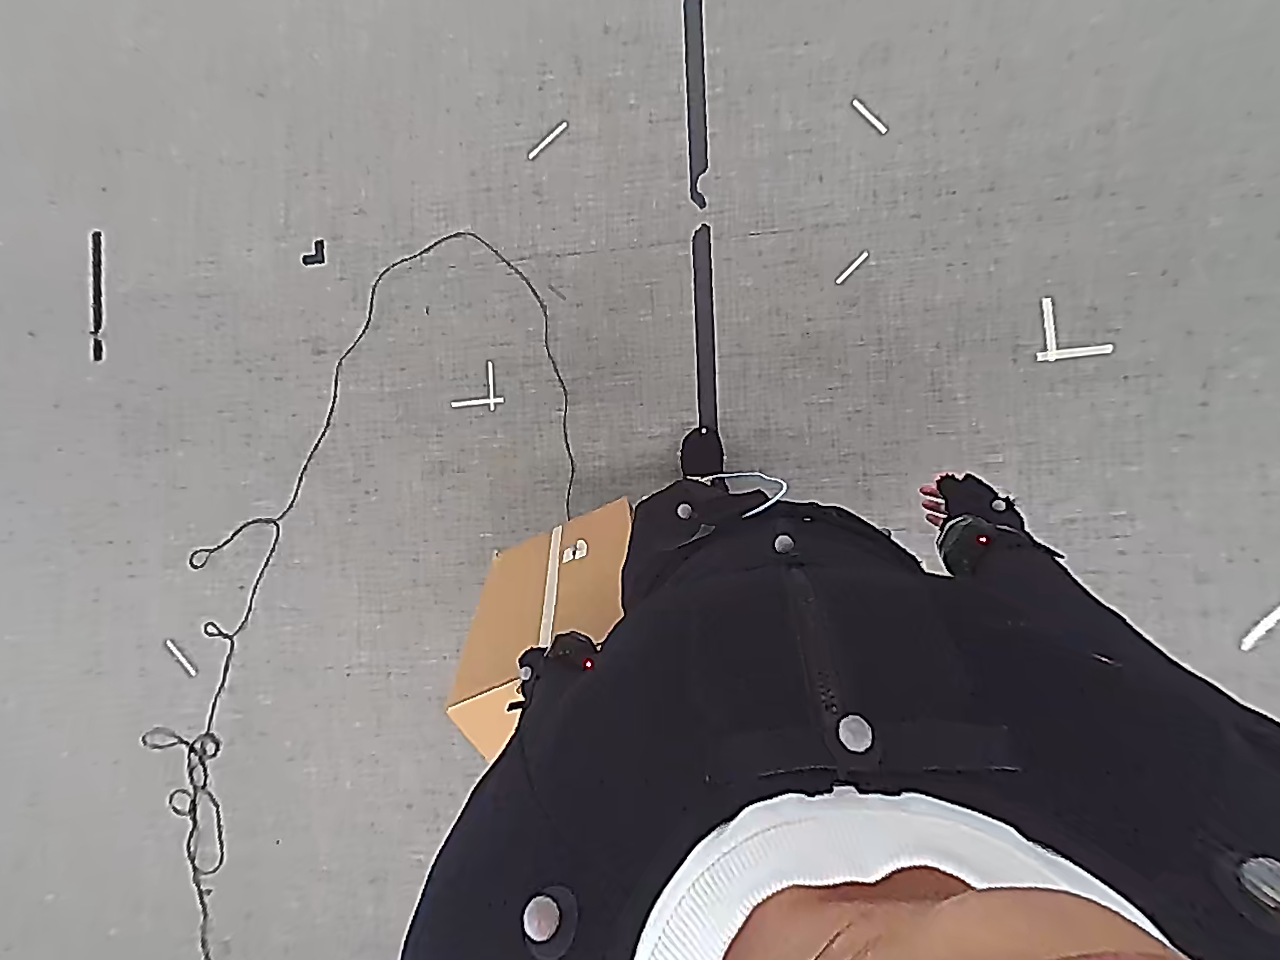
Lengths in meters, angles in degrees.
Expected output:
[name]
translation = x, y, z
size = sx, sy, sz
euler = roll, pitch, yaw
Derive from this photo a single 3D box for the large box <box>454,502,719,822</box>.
[large box]
translation = -0.085, 0.304, 0.991
size = 0.320, 0.408, 0.320
euler = -23, 113, 5
